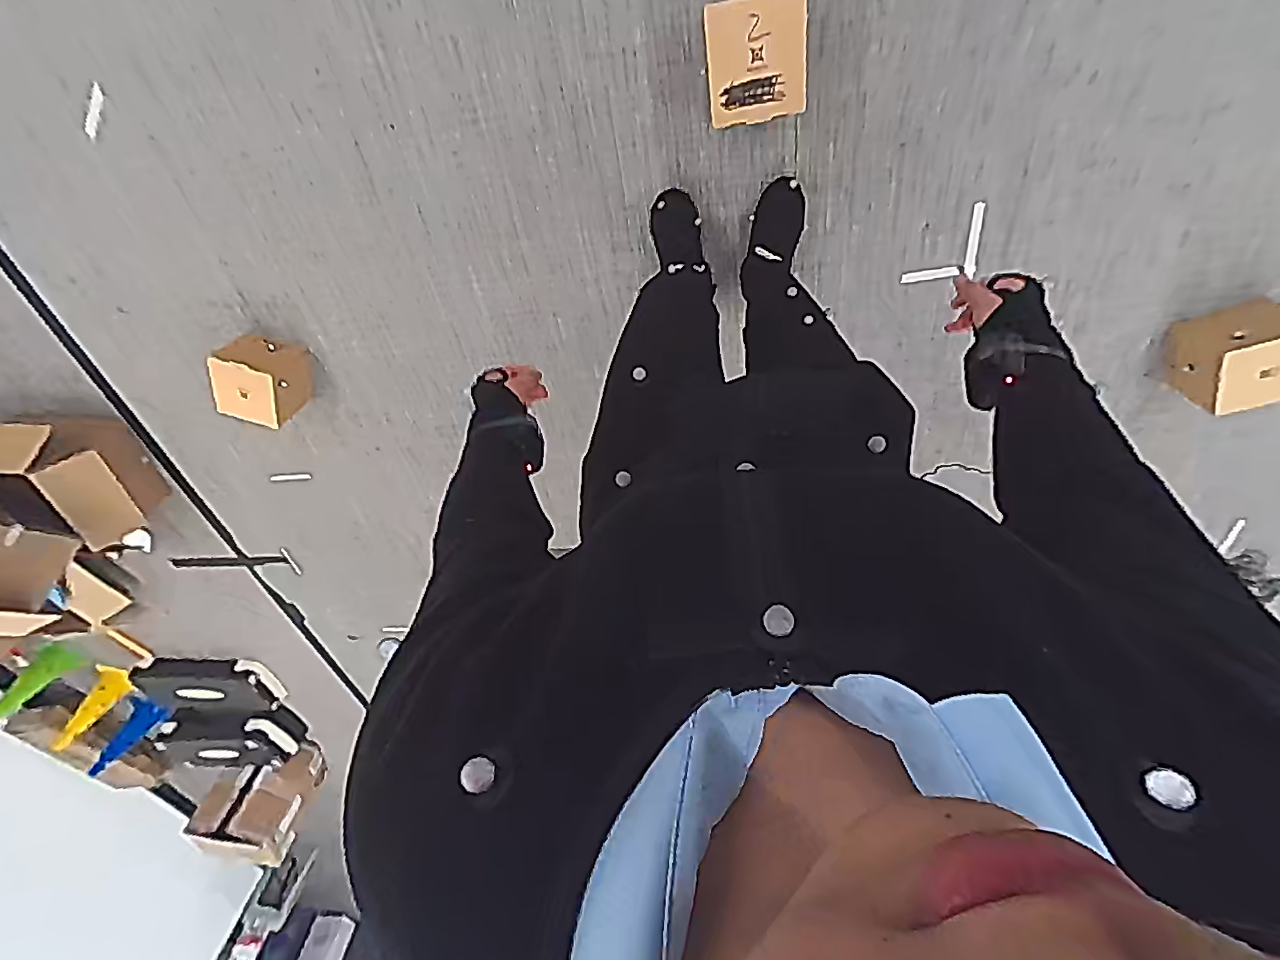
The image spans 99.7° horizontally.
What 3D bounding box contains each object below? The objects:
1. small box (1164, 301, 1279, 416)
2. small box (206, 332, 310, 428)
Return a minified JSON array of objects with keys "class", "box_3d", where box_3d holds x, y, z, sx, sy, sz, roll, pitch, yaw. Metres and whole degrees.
[{"class":"small box","box_3d":[1.333,-0.274,1.209,0.179,0.176,0.168,-17,123,18]},{"class":"small box","box_3d":[-1.038,-0.278,1.488,0.168,0.176,0.179,17,127,-6]}]
